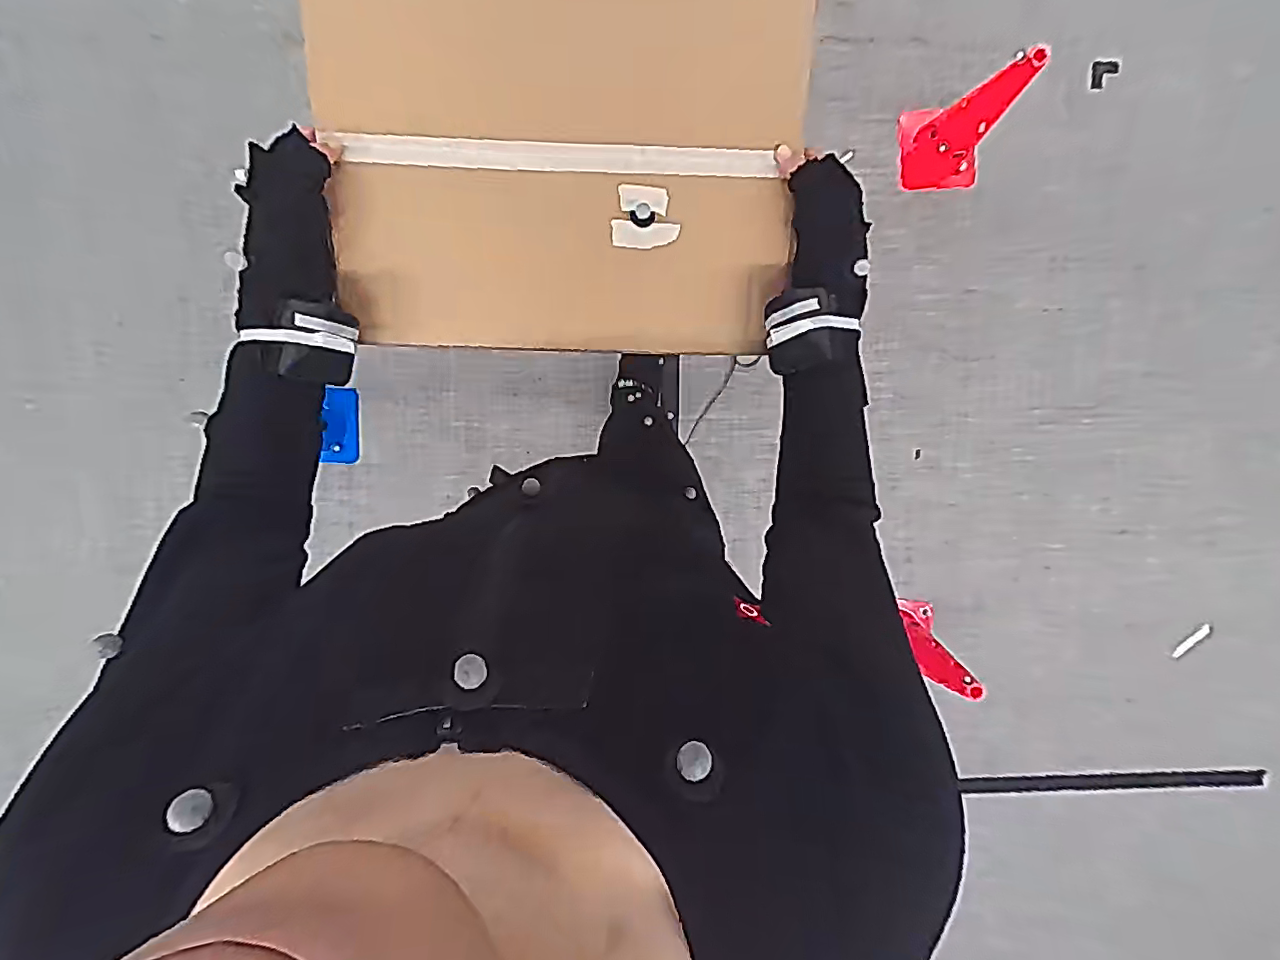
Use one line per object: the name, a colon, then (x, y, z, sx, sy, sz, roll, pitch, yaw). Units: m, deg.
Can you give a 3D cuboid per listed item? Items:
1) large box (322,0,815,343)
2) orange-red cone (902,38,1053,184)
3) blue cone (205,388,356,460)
large box: (-0.066, -0.317, 0.605, 0.408, 0.320, 0.320, 1, 104, -4)
orange-red cone: (0.784, -0.863, 1.234, 0.198, 0.360, 0.199, -3, 93, -2)
blue cone: (-0.850, -0.135, 1.273, 0.192, 0.380, 0.193, 3, 94, 0)
